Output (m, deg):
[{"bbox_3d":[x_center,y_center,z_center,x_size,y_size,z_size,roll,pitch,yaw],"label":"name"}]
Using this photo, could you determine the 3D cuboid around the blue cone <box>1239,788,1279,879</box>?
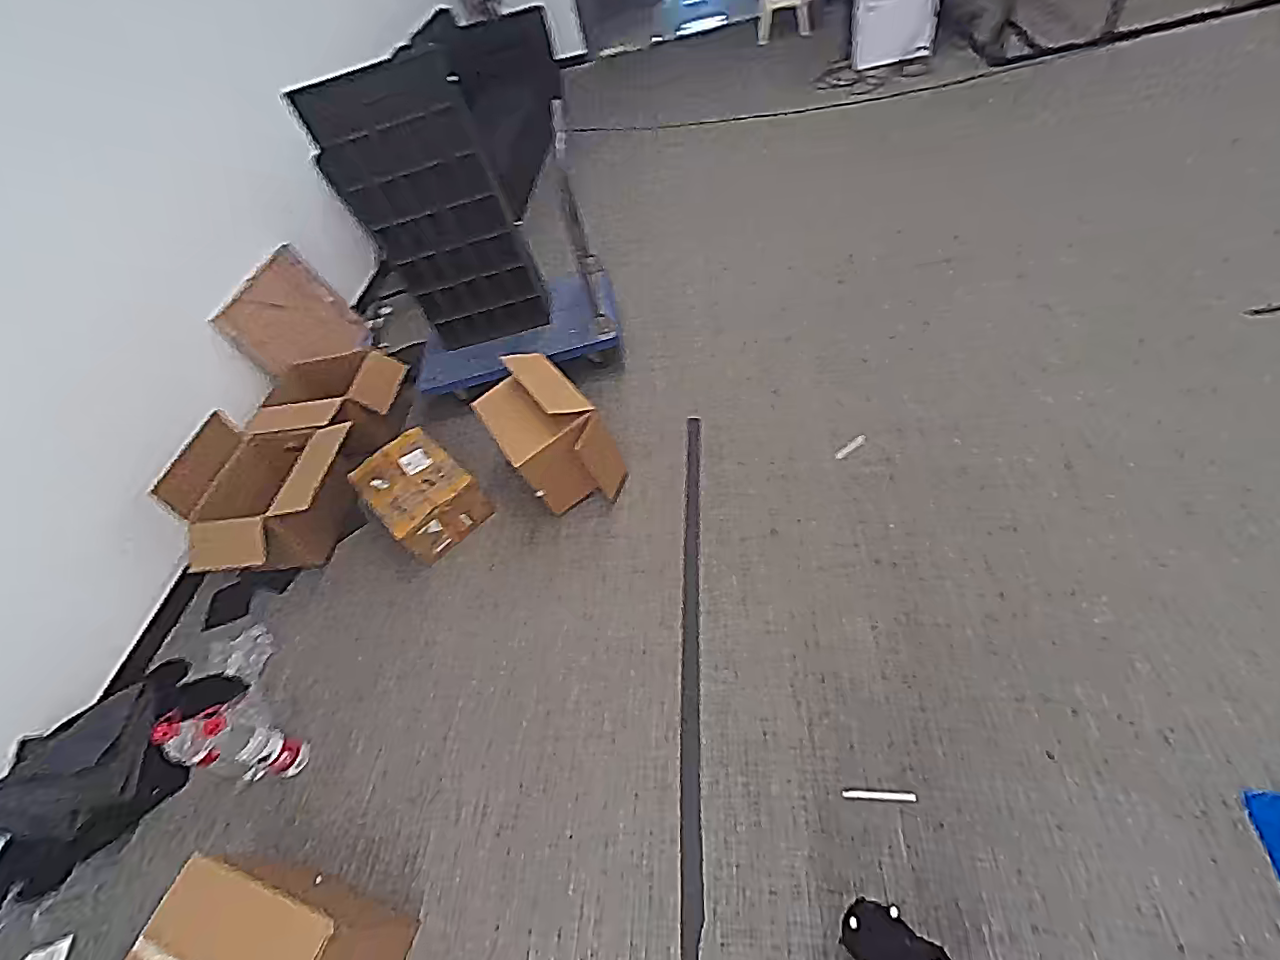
[{"bbox_3d":[1.214,0.572,0.863,0.193,0.380,0.192,-1,51,15],"label":"blue cone"}]
